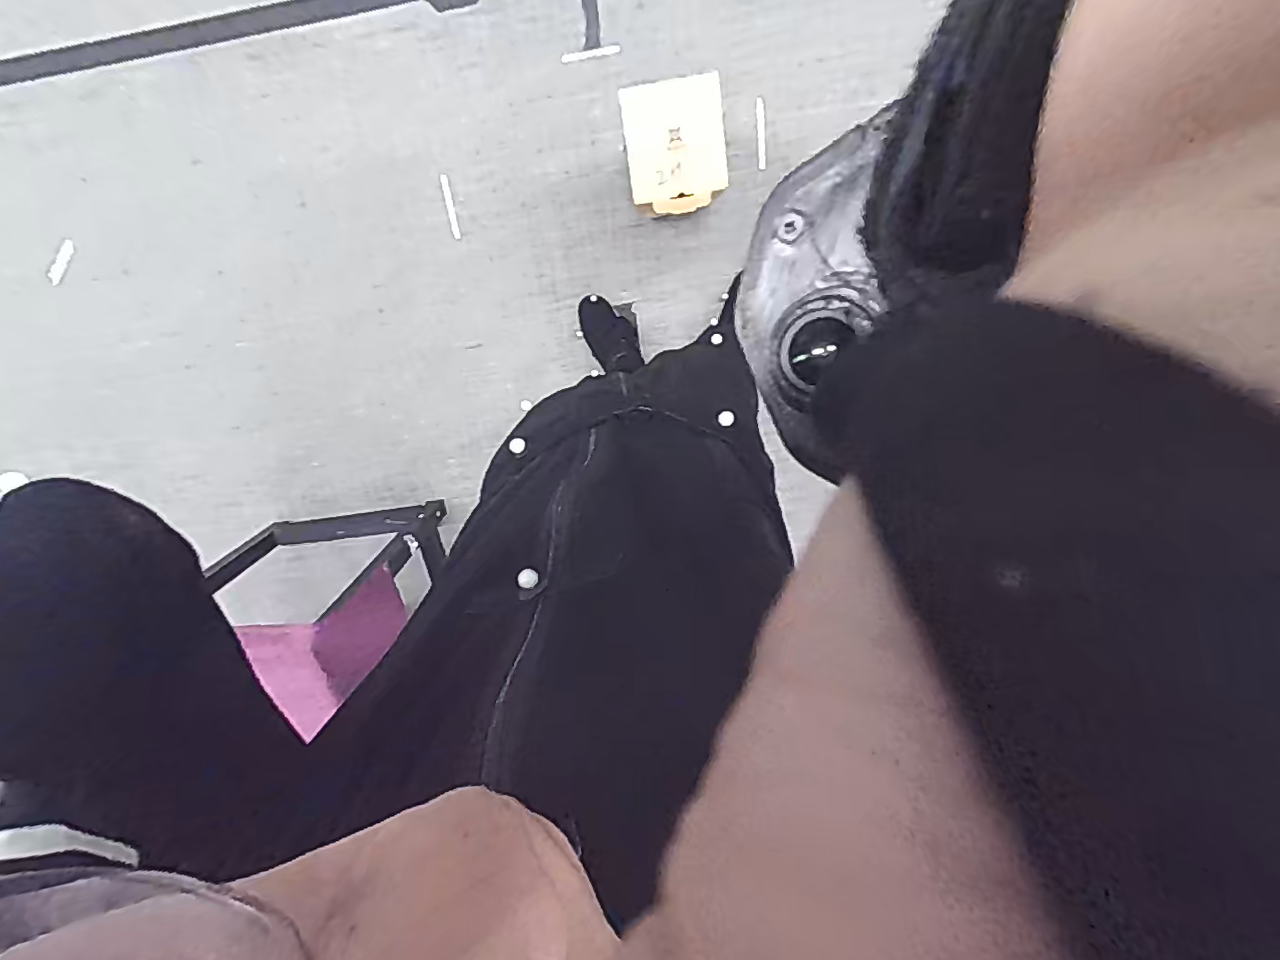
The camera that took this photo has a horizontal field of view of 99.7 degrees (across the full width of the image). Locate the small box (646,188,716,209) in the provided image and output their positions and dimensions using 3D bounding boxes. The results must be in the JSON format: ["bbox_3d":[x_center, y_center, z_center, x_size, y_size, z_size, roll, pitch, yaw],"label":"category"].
[{"bbox_3d":[0.080,-0.748,1.270,0.168,0.176,0.179,-11,112,6],"label":"small box"}]

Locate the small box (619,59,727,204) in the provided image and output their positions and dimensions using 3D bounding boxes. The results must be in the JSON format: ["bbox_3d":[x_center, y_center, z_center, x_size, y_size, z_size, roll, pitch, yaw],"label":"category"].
[{"bbox_3d":[0.056,-0.611,0.969,0.168,0.176,0.179,-8,113,4],"label":"small box"}]
